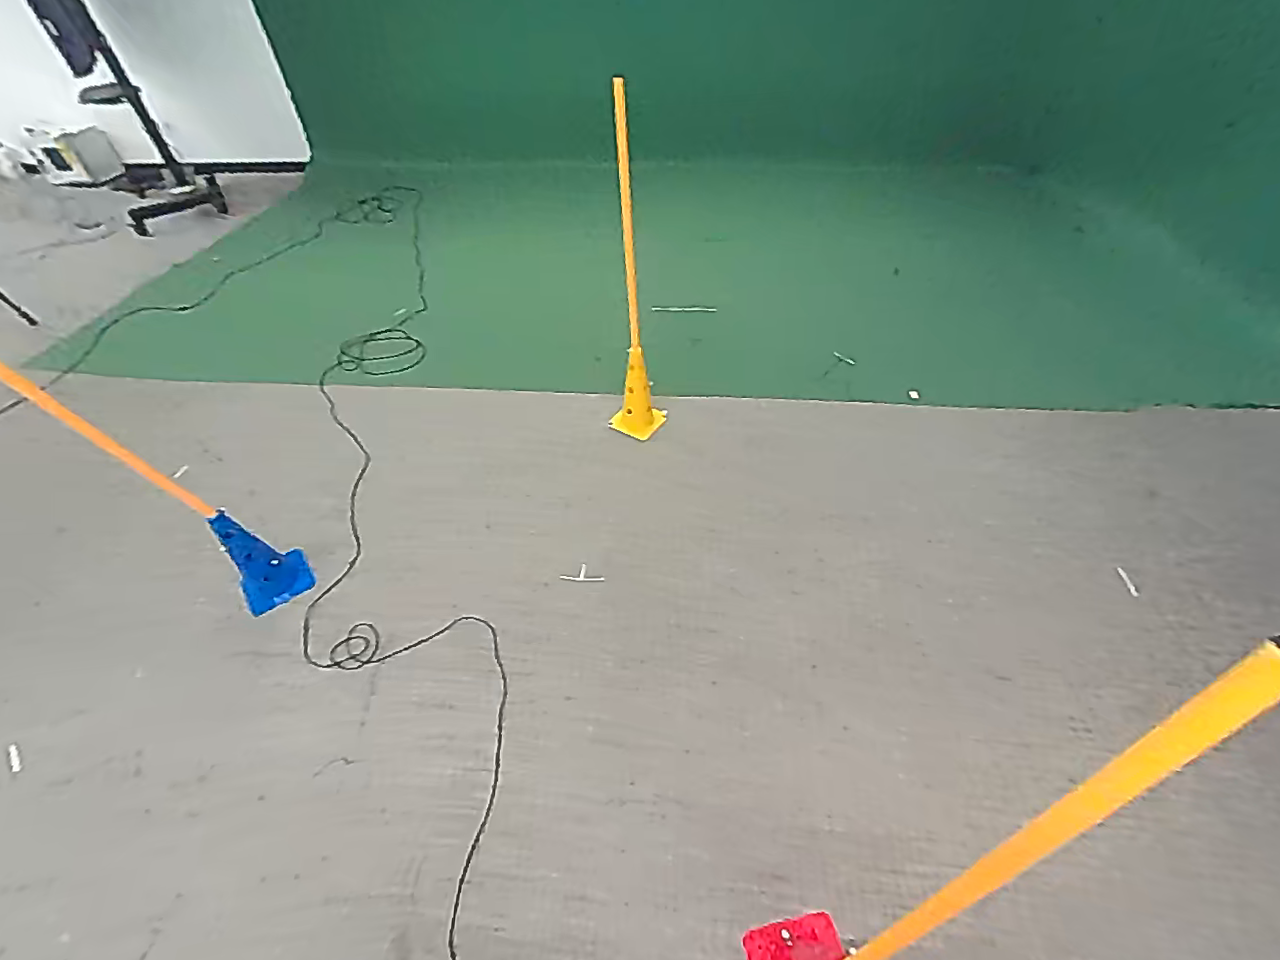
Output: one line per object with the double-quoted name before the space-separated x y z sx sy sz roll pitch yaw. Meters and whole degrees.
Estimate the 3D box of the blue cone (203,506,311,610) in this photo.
"blue cone" -1.209 0.217 1.664 0.193 0.380 0.192 -33 54 -24
